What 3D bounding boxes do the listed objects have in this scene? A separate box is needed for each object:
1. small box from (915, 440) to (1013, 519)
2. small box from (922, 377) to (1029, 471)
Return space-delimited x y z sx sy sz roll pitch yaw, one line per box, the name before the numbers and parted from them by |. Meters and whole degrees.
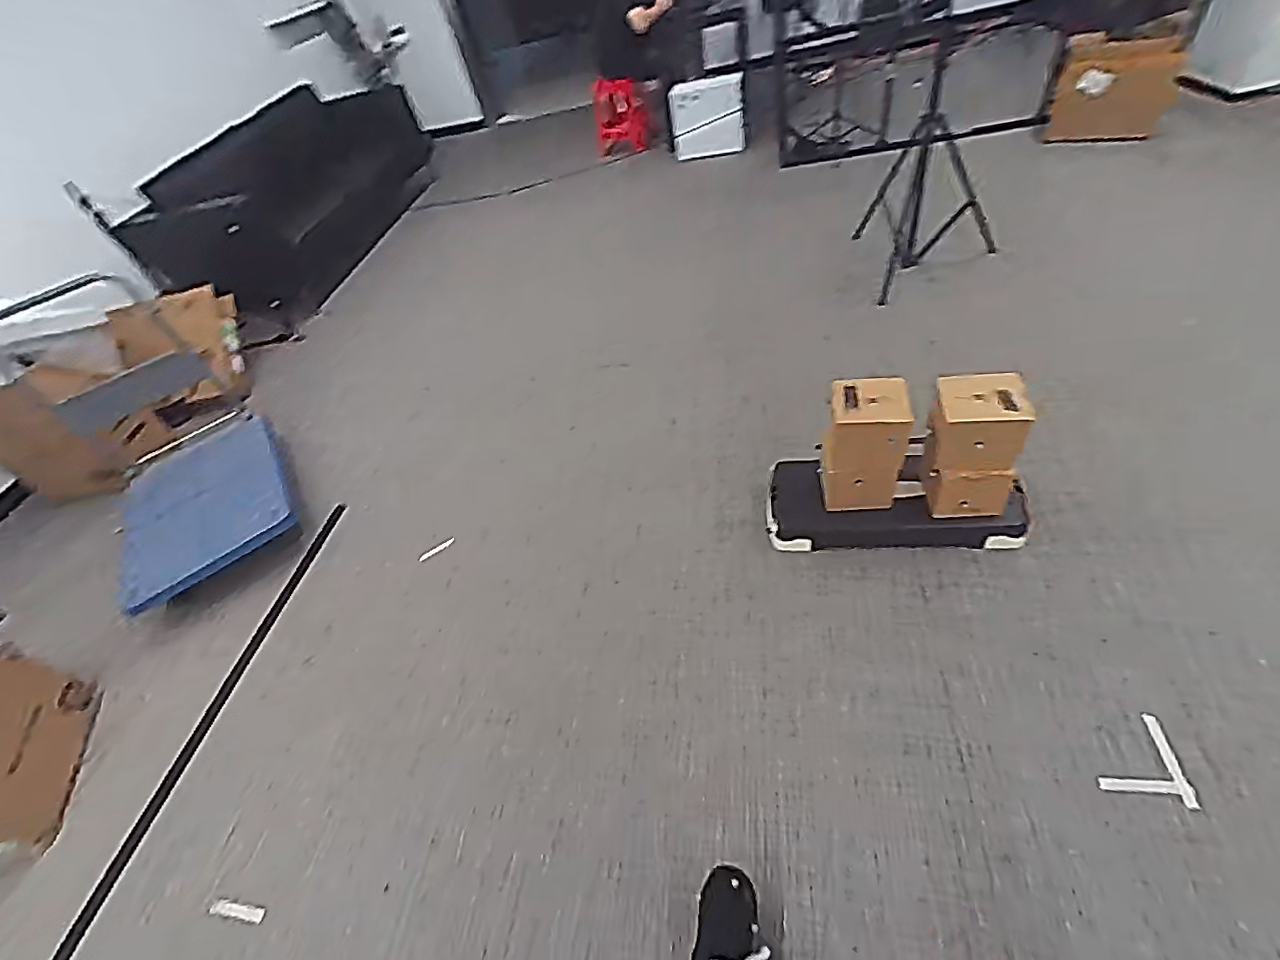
small box | 0.852 -0.016 1.444 0.168 0.176 0.179 -4 49 12
small box | 0.816 -0.135 1.334 0.179 0.176 0.168 0 49 17
